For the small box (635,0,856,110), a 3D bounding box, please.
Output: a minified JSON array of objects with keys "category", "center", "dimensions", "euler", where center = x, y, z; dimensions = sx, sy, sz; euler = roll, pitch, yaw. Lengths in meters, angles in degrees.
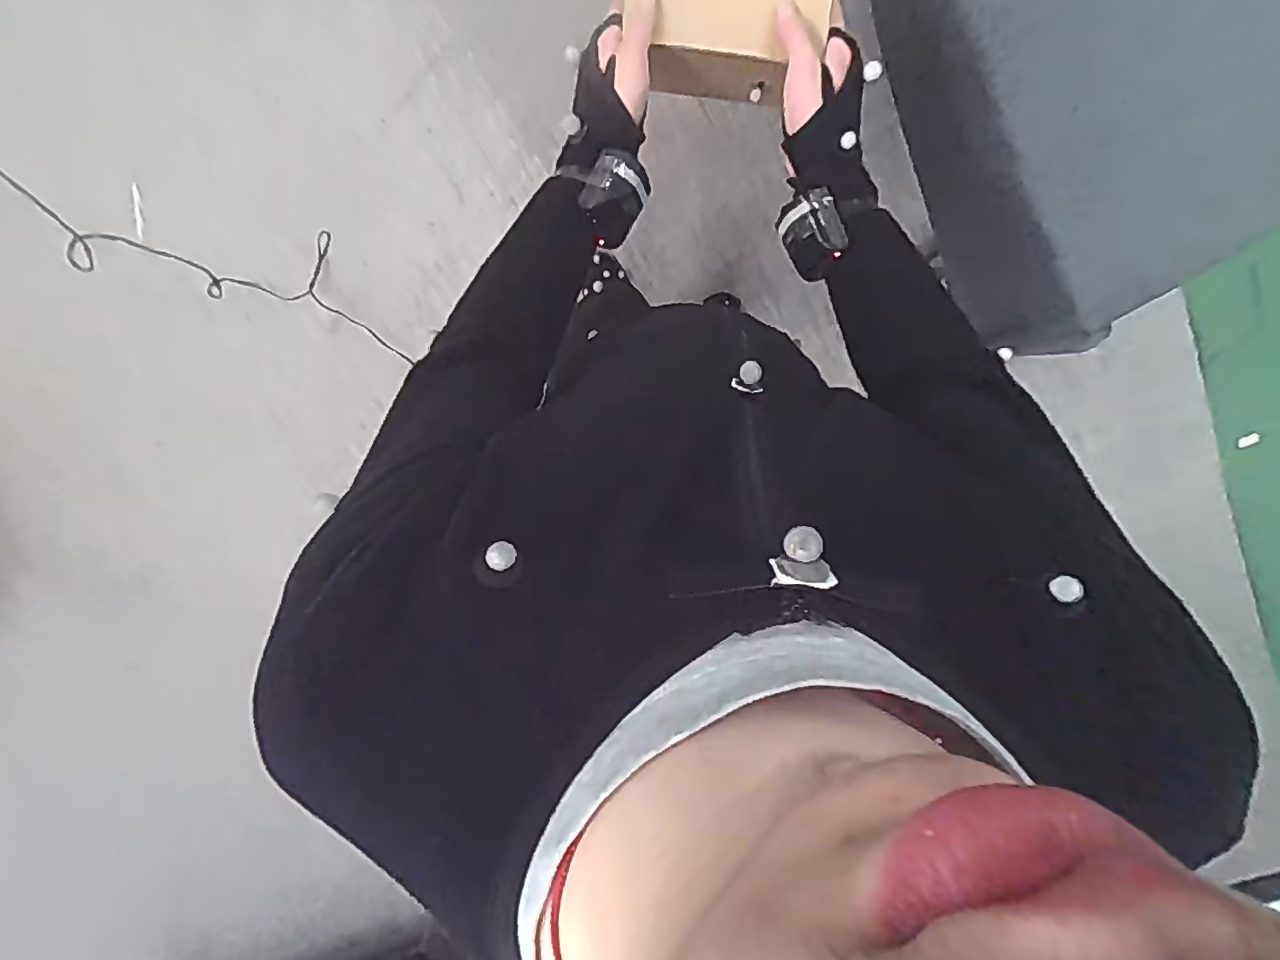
[{"category":"small box","center":[0.090,-0.455,0.489],"dimensions":[0.179,0.176,0.168],"euler":[5,112,-1]}]
